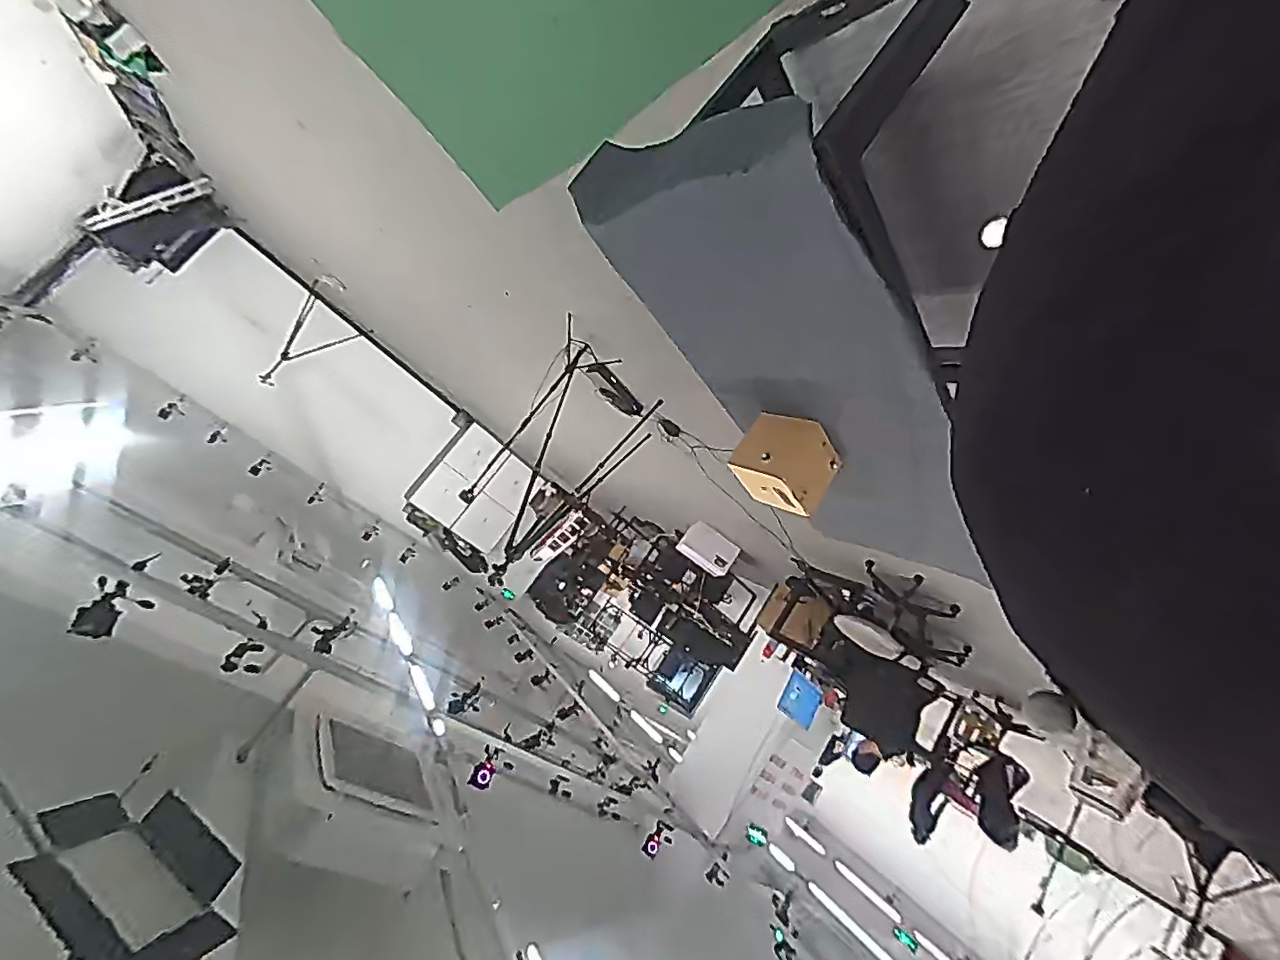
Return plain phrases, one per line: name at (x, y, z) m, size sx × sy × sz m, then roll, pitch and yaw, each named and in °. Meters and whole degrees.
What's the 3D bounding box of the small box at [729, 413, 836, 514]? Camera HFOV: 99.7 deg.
small box at (0.359, -0.046, 1.333) m, size 0.179 × 0.176 × 0.168 m, roll 20°, pitch 160°, yaw 50°
